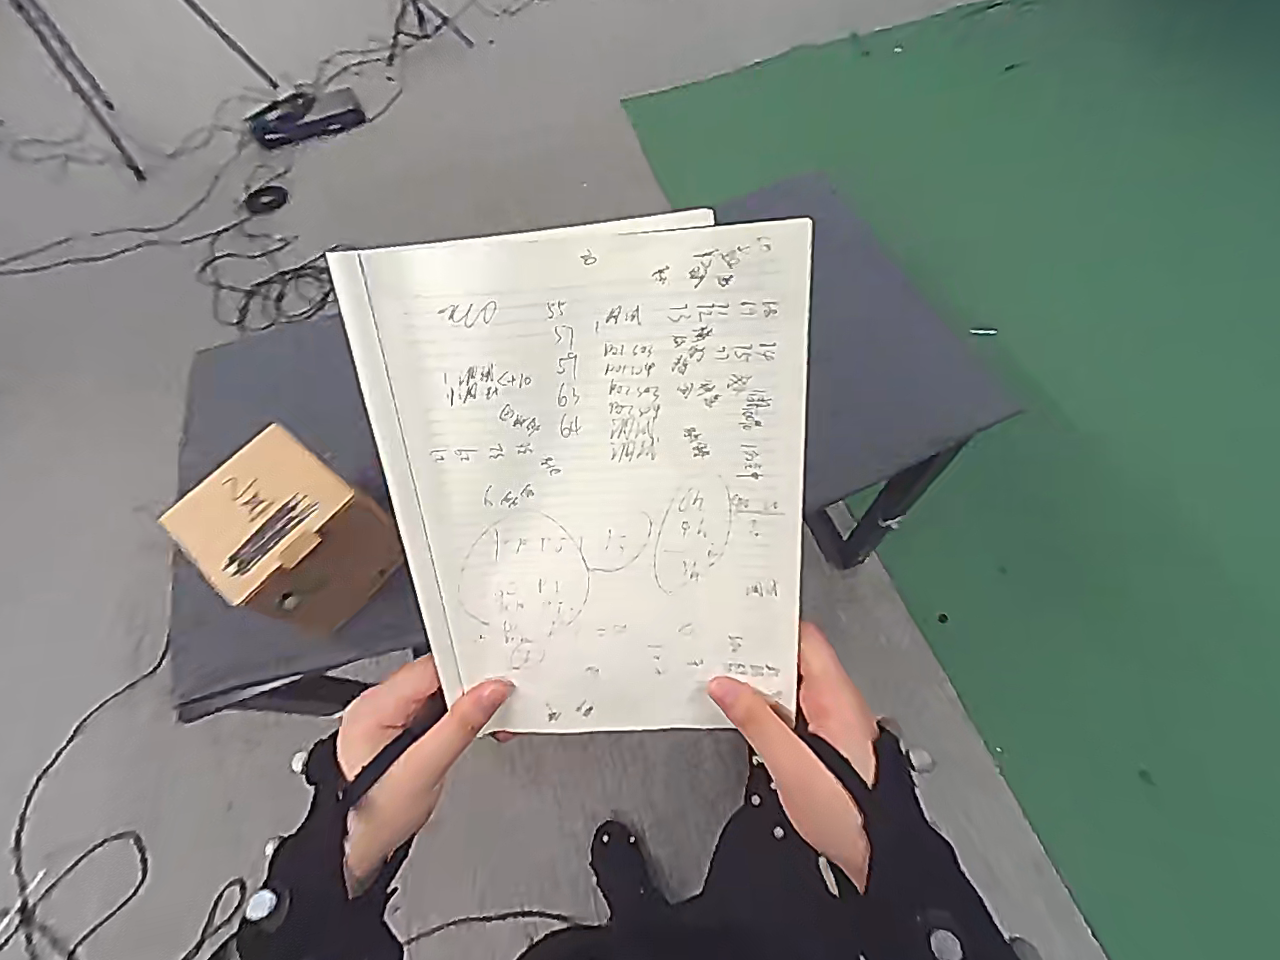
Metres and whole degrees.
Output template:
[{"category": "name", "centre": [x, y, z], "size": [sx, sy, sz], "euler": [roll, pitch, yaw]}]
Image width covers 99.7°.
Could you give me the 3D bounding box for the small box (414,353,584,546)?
[{"category": "small box", "centre": [-0.185, -0.035, 0.732], "size": [0.168, 0.176, 0.179], "euler": [-17, 62, -2]}]
